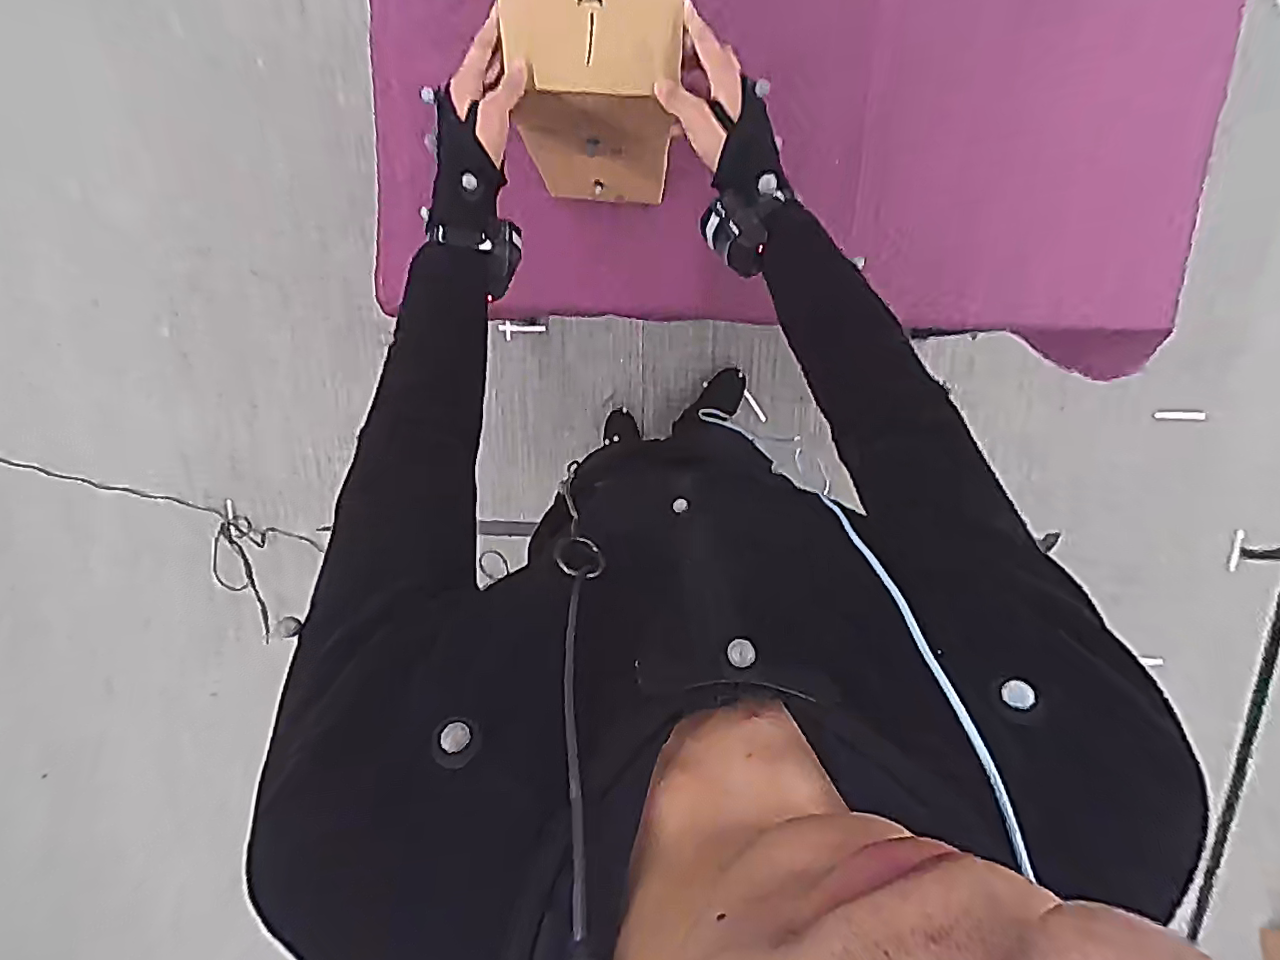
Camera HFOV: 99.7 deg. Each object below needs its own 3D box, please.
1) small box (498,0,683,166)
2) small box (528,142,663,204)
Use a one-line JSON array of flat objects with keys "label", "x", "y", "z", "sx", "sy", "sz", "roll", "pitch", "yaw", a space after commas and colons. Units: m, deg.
[{"label": "small box", "x": -0.046, "y": -0.451, "z": 0.553, "sx": 0.168, "sy": 0.176, "sz": 0.179, "roll": 2, "pitch": 103, "yaw": -2}, {"label": "small box", "x": -0.048, "y": -0.483, "z": 0.715, "sx": 0.168, "sy": 0.176, "sz": 0.179, "roll": 4, "pitch": 102, "yaw": -2}]
